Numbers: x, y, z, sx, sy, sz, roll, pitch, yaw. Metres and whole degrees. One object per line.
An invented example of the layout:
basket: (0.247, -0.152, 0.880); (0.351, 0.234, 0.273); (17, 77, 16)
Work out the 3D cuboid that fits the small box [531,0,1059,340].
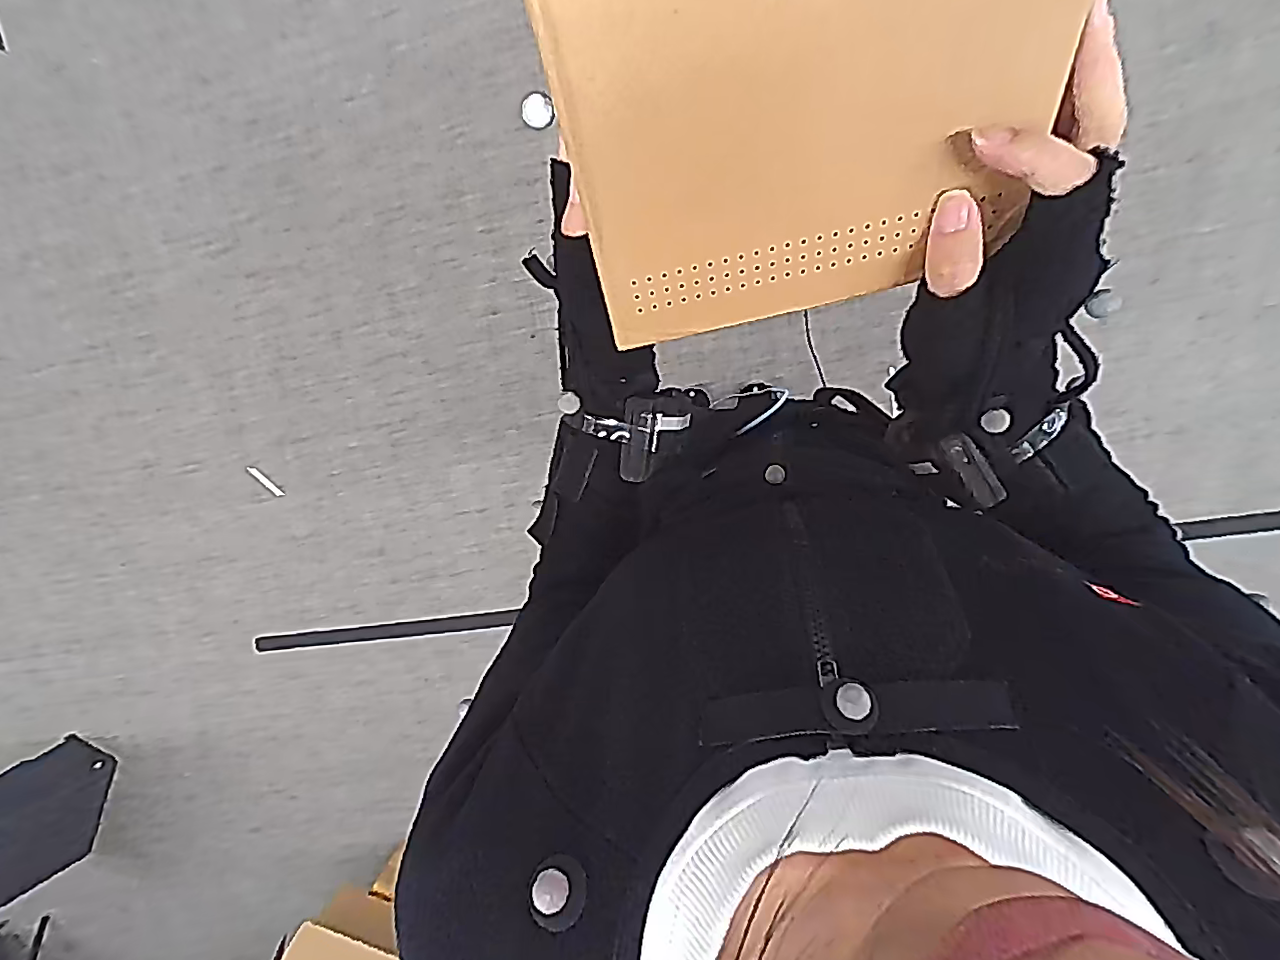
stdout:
small box: (0.053, -0.185, 0.240); (0.179, 0.168, 0.176); (-12, 138, 5)
